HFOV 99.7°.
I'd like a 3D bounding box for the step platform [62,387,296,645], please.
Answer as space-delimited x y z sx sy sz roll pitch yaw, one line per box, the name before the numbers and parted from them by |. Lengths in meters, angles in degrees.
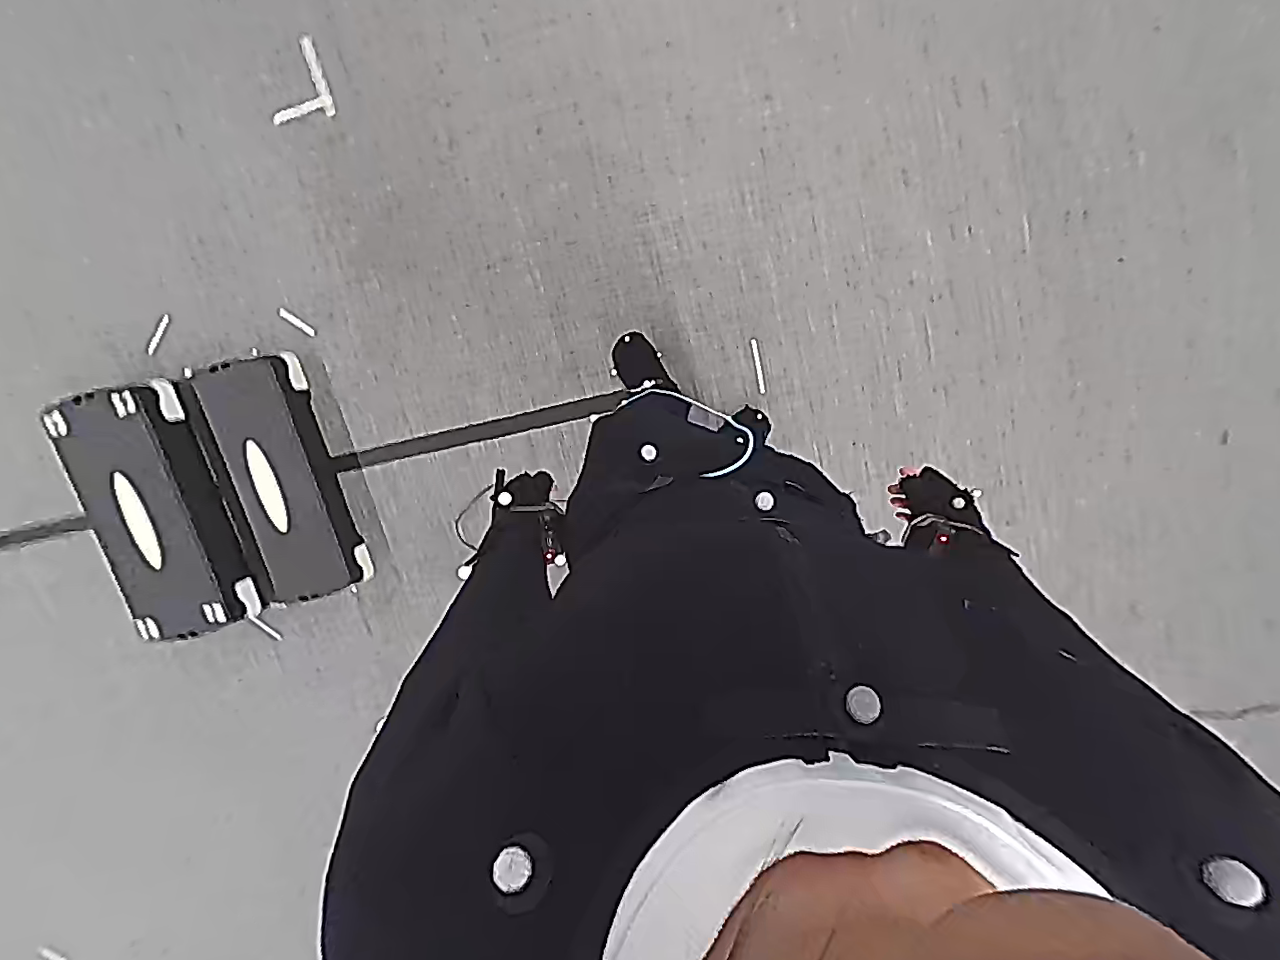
step platform | -1.230 0.100 1.465 0.286 0.204 0.684 -14 99 6
